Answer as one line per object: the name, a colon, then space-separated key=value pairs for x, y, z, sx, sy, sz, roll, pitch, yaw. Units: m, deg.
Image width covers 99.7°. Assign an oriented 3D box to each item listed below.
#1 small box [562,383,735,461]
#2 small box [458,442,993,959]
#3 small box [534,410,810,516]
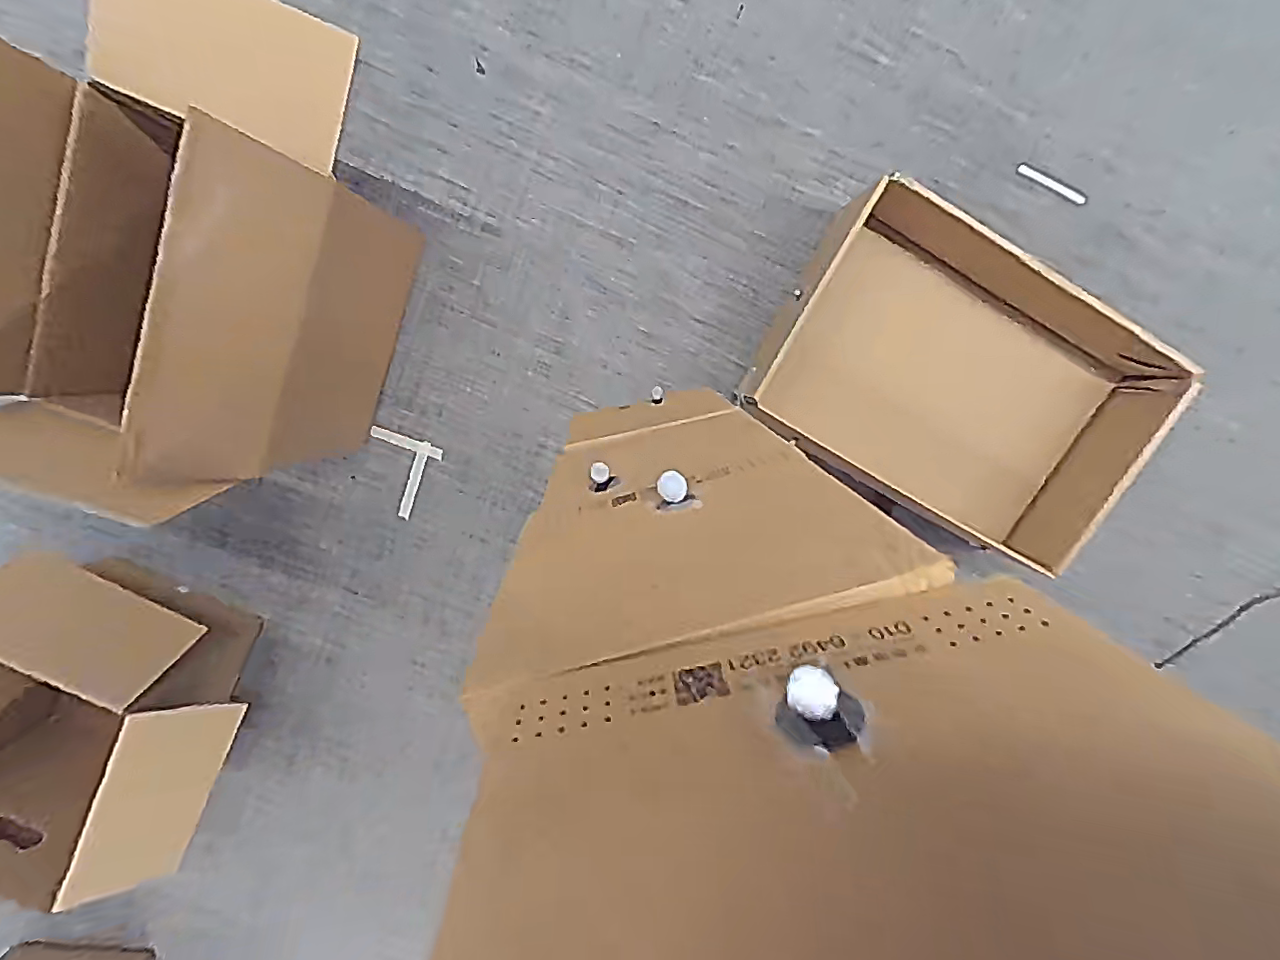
small box: x=0.025 y=0.005 z=0.588 sx=0.168 sy=0.176 sz=0.179 roll=-12 pitch=107 yaw=3
small box: x=0.037 y=0.097 z=0.270 sx=0.168 sy=0.176 sz=0.179 roll=-16 pitch=106 yaw=1
small box: x=0.032 y=0.053 z=0.429 sx=0.179 sy=0.176 sz=0.168 roll=-15 pitch=107 yaw=0
